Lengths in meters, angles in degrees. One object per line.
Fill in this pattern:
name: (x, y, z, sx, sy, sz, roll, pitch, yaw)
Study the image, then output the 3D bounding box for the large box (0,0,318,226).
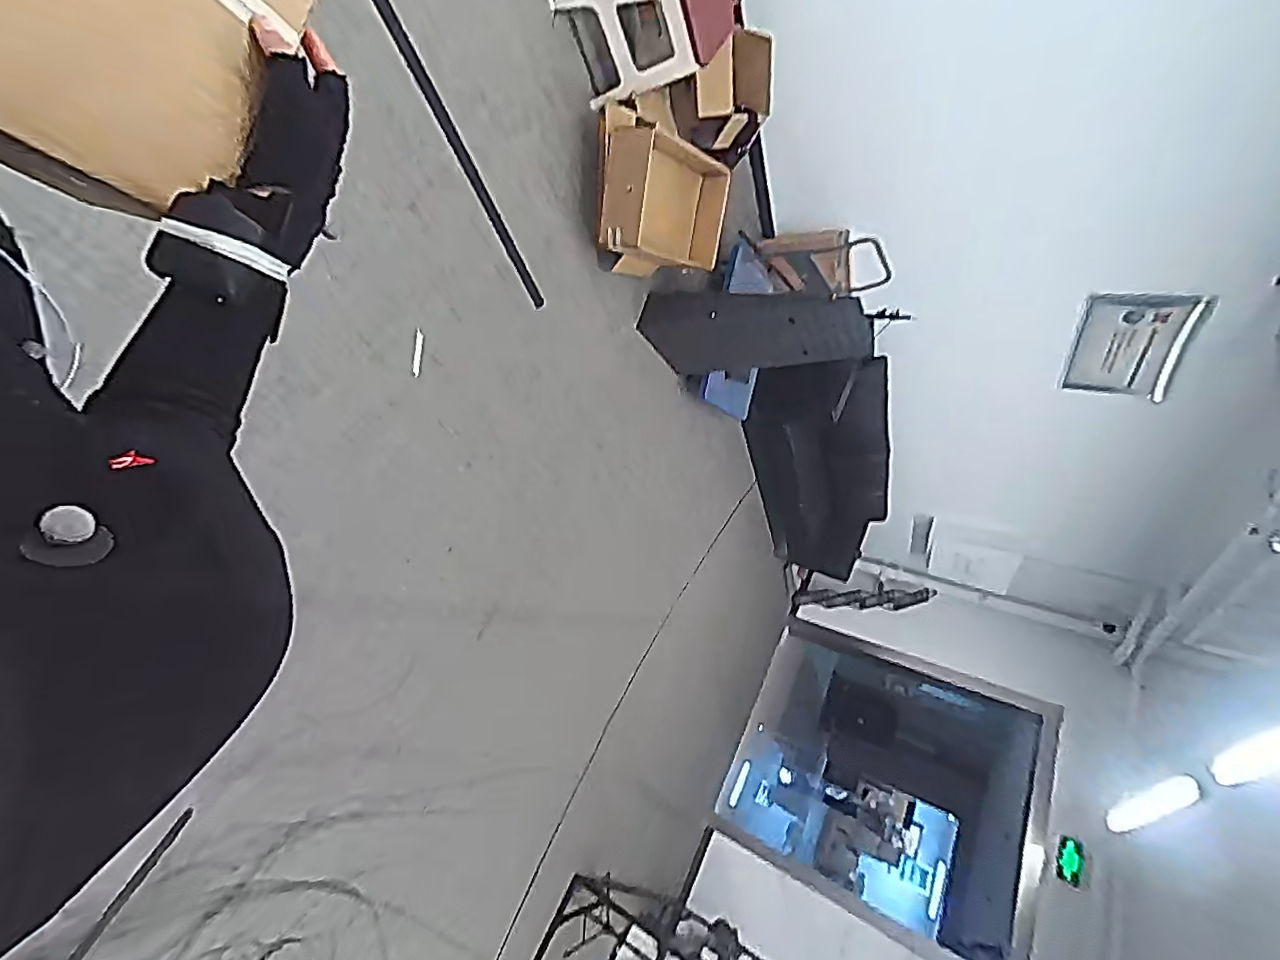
large box: (-0.482, -0.421, 0.323, 0.408, 0.320, 0.320, 24, 90, -61)
